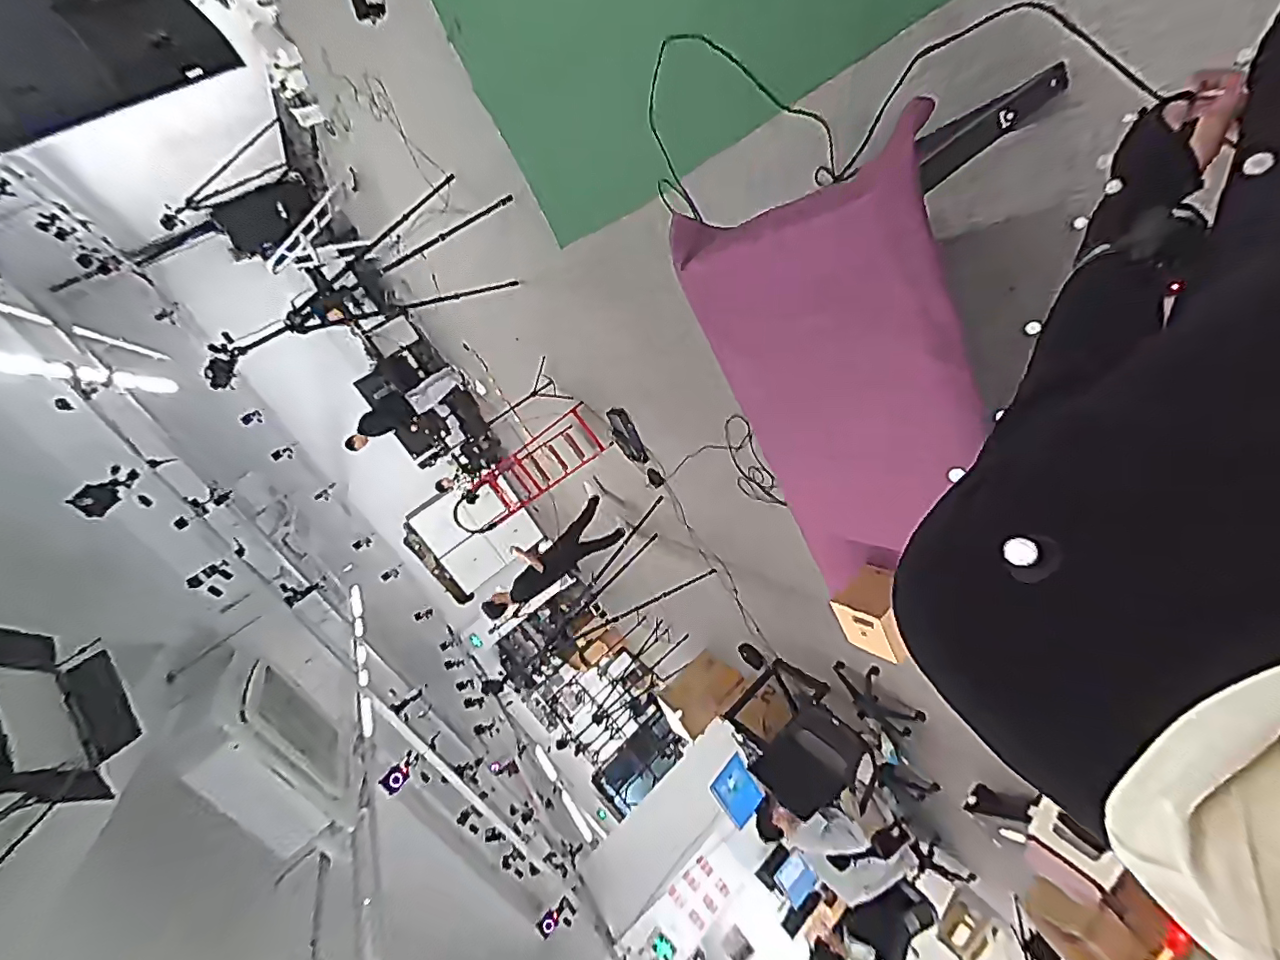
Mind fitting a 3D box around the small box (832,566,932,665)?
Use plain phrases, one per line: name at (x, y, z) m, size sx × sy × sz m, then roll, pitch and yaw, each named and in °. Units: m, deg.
small box at (0.674, 0.368, 1.503) m, size 0.168 × 0.176 × 0.179 m, roll 14°, pitch 139°, yaw 60°
